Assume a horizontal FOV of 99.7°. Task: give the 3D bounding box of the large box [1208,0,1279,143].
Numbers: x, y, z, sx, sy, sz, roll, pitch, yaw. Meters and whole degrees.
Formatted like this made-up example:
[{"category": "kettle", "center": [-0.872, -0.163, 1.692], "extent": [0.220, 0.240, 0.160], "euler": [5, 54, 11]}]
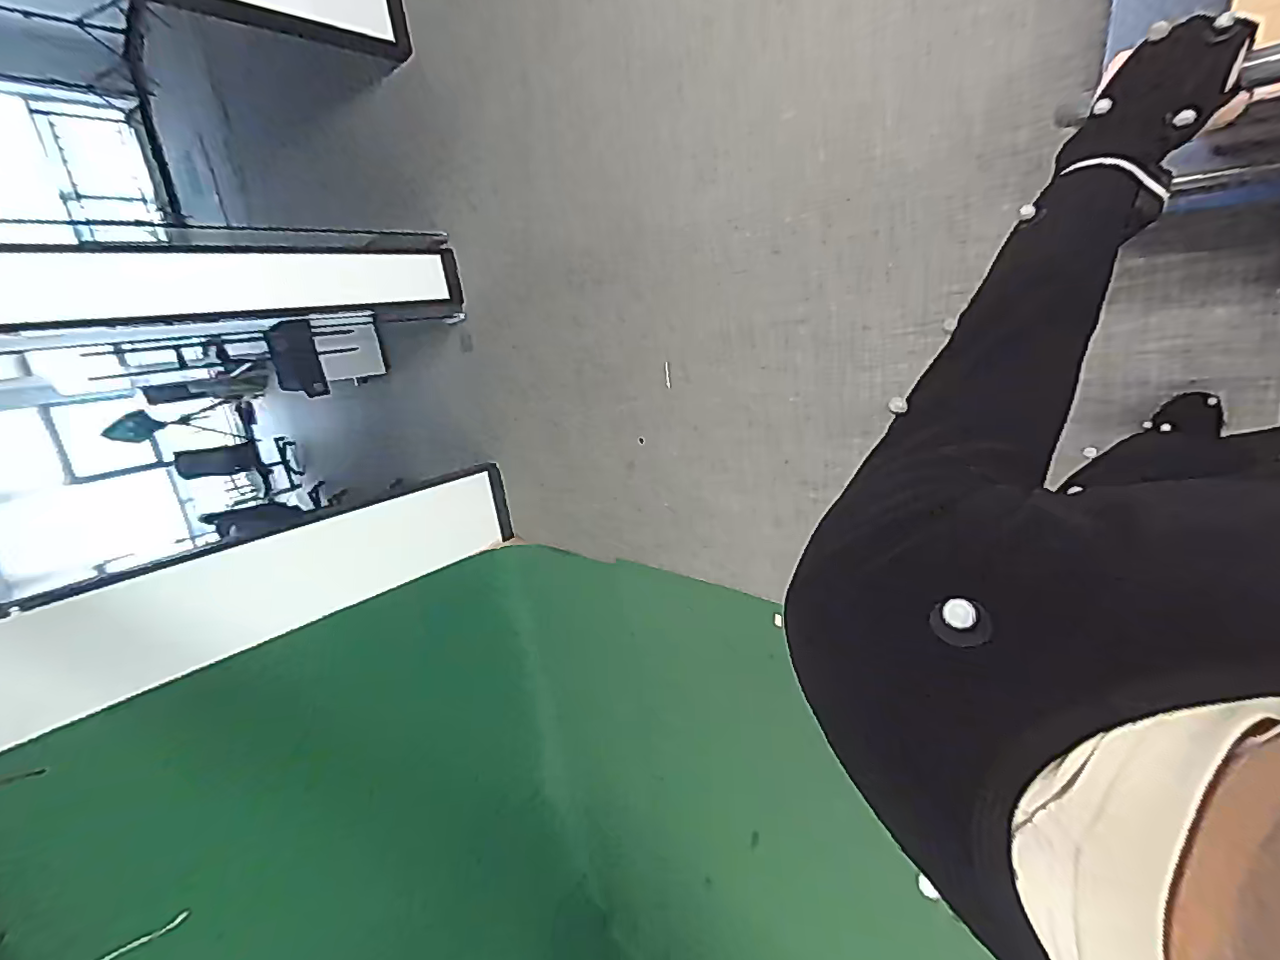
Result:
[{"category": "large box", "center": [0.950, -0.702, 0.661], "extent": [0.320, 0.320, 0.408], "euler": [10, 112, 42]}]
